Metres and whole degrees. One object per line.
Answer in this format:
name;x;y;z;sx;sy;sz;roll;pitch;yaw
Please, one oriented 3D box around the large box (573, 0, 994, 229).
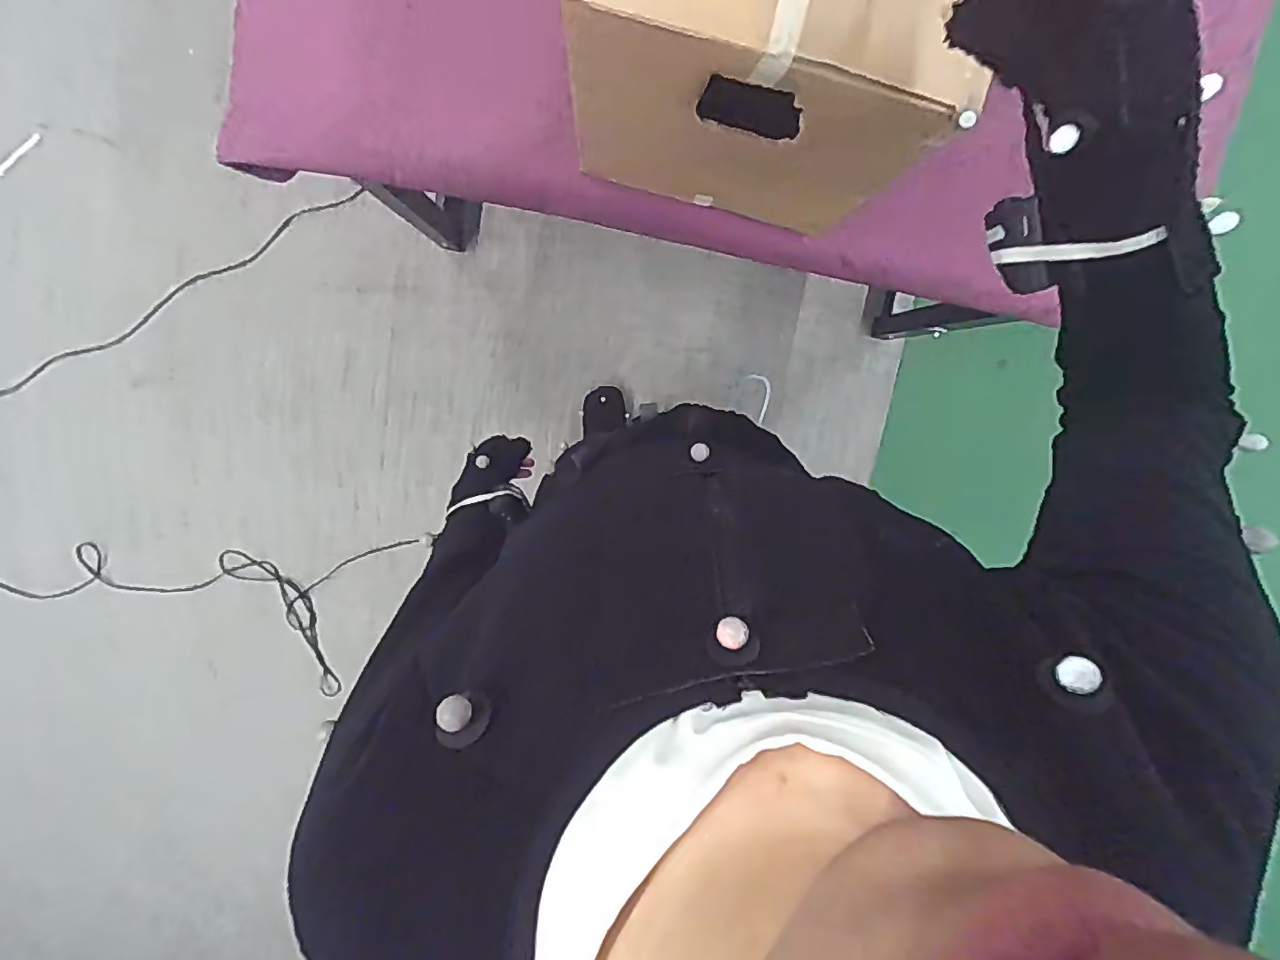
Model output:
large box;0.129;-0.520;0.516;0.320;0.320;0.408;12;100;-5
